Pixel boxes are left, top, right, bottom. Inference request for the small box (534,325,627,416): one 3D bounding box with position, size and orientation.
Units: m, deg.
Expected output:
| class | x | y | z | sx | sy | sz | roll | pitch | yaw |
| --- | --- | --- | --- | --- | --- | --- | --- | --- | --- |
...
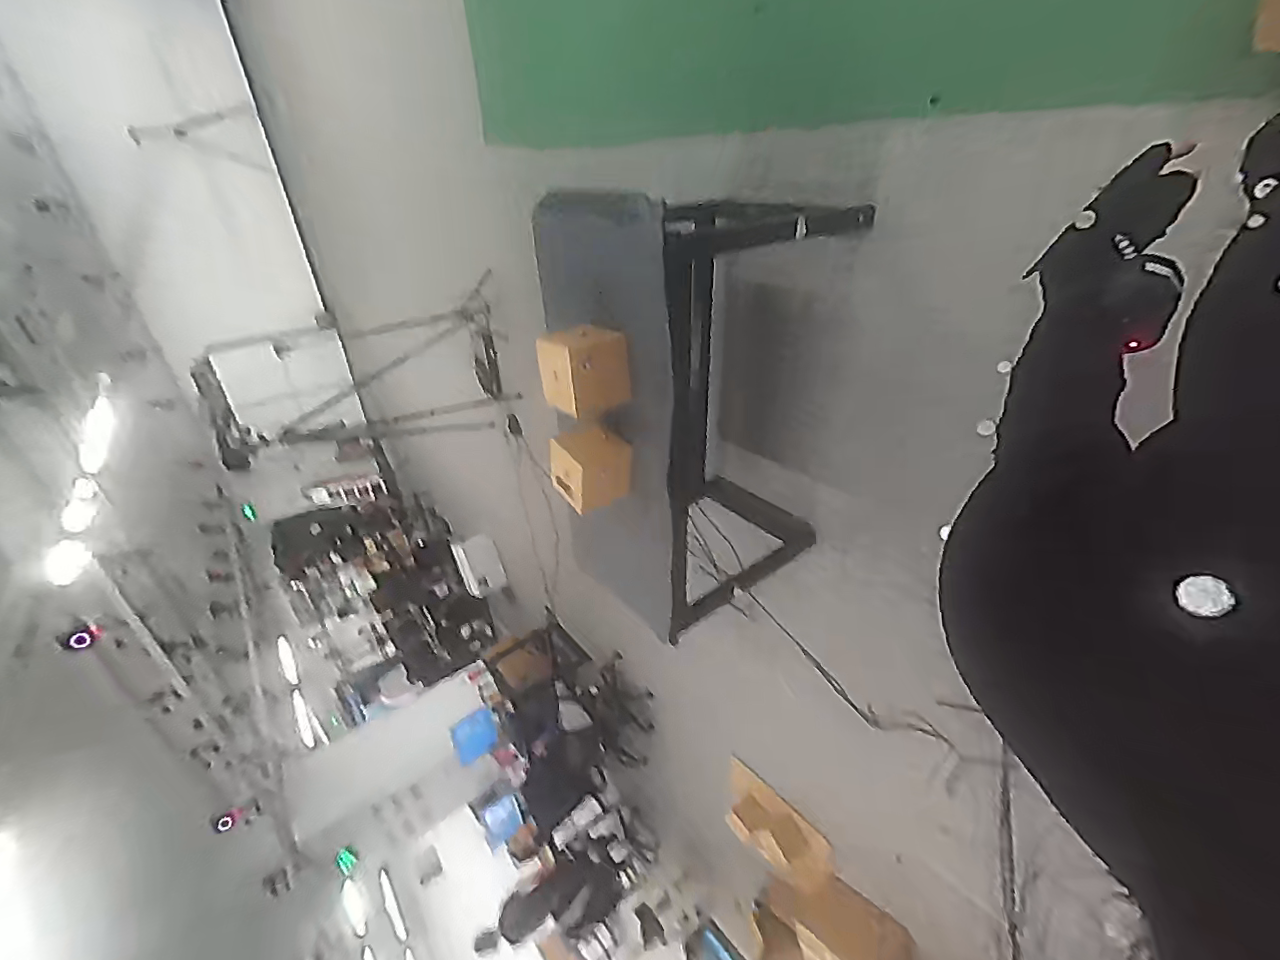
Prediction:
| class | x | y | z | sx | sy | sz | roll | pitch | yaw |
| --- | --- | --- | --- | --- | --- | --- | --- | --- | --- |
| small box | -0.148 | -0.286 | 1.379 | 0.168 | 0.176 | 0.179 | 31 | 134 | 45 |
